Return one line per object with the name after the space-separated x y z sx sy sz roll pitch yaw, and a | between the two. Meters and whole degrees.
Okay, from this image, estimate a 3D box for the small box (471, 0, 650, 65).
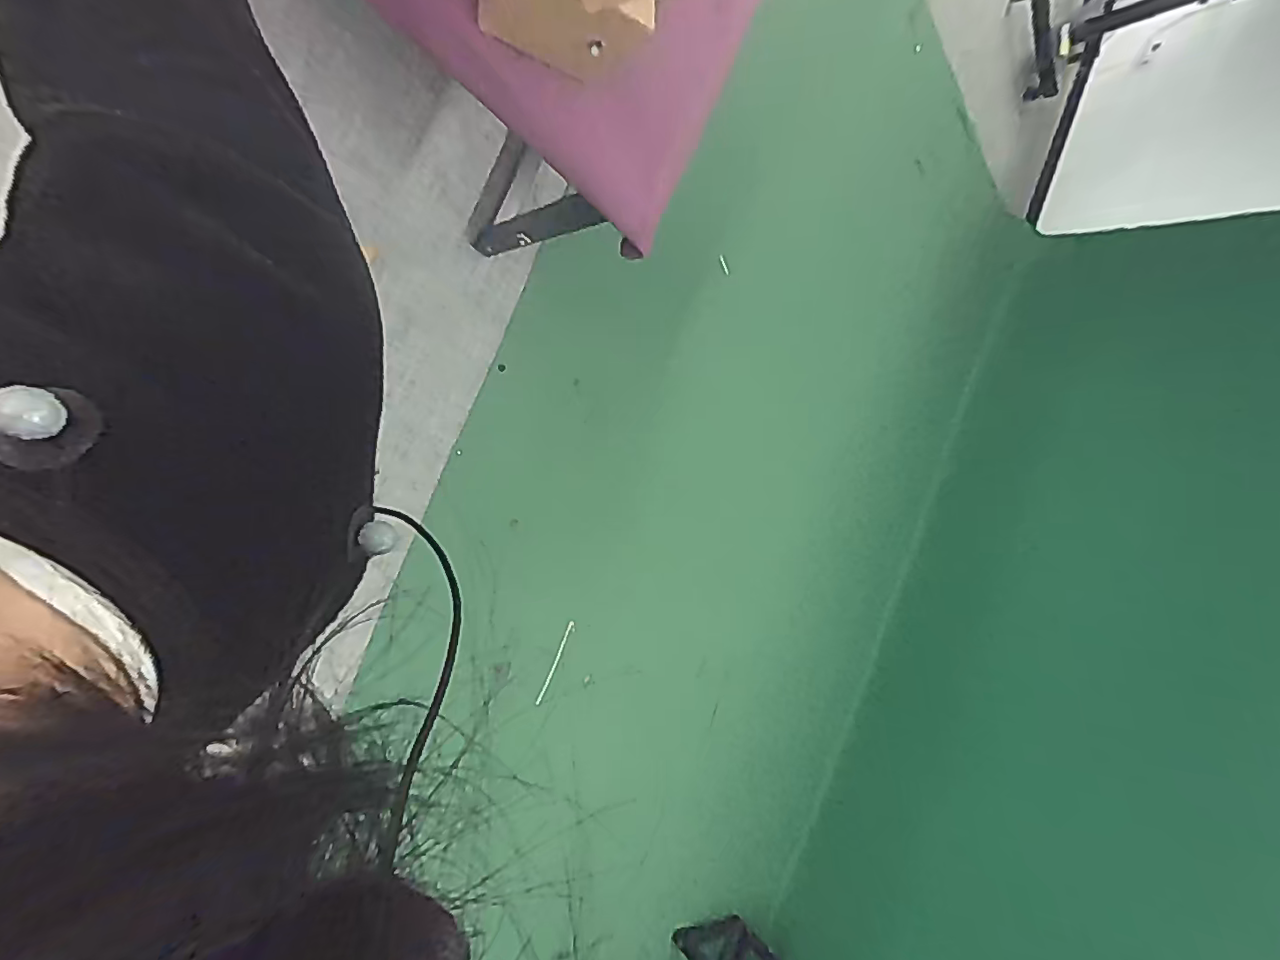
-0.099 -0.682 0.698 0.179 0.176 0.168 -2 101 -40 | small box
